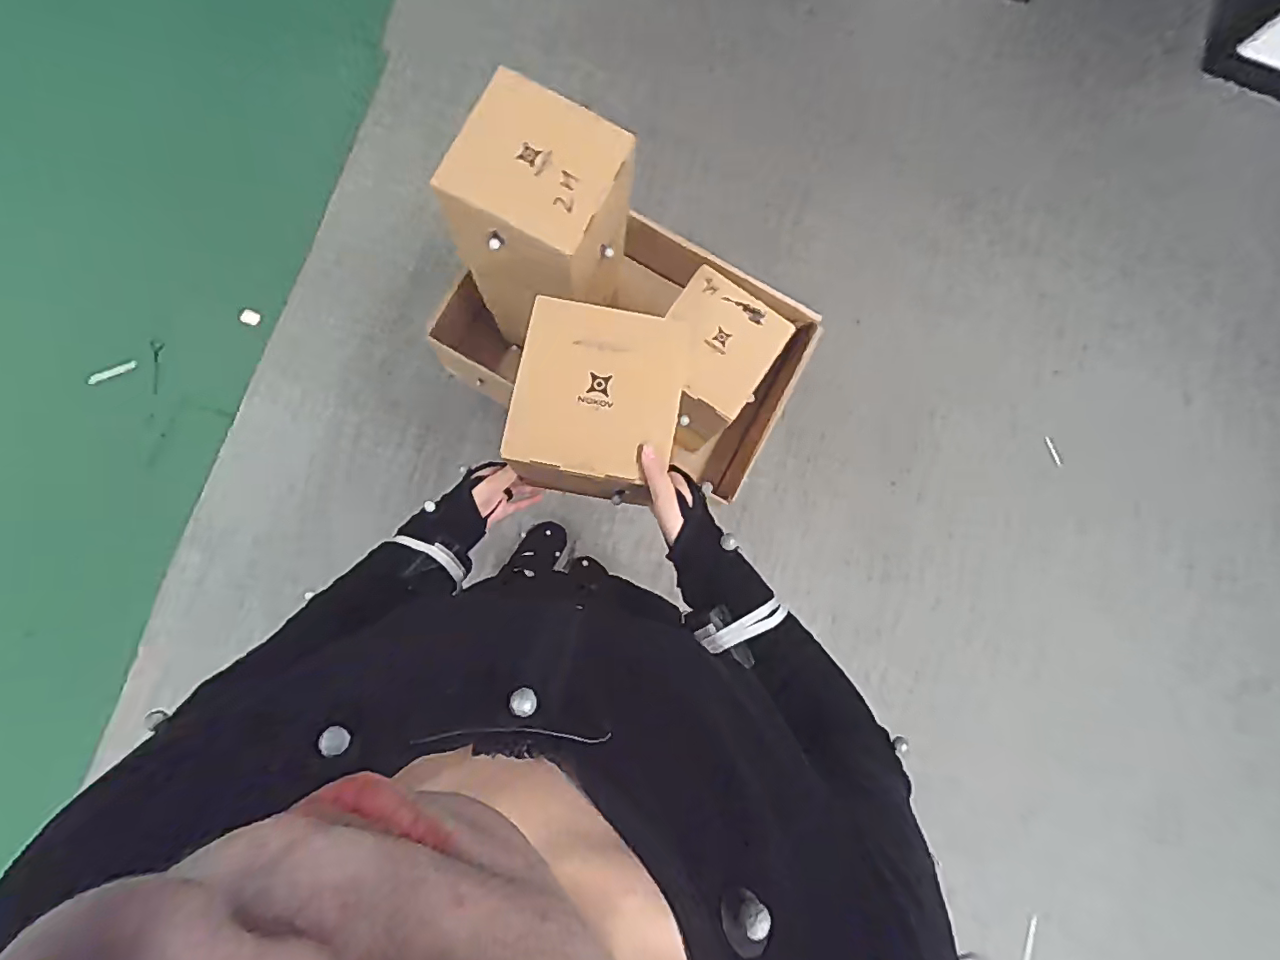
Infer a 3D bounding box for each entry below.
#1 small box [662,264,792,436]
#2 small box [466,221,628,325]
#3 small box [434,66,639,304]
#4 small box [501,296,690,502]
[{"bbox_3d":[0.102,-0.190,0.850,0.168,0.176,0.179,36,83,-1],"label":"small box"},{"bbox_3d":[-0.139,-0.337,0.845,0.179,0.176,0.168,29,82,-4],"label":"small box"},{"bbox_3d":[-0.122,-0.350,0.681,0.179,0.176,0.168,28,83,-3],"label":"small box"},{"bbox_3d":[-0.045,-0.078,0.619,0.168,0.176,0.179,10,80,-1],"label":"small box"}]
